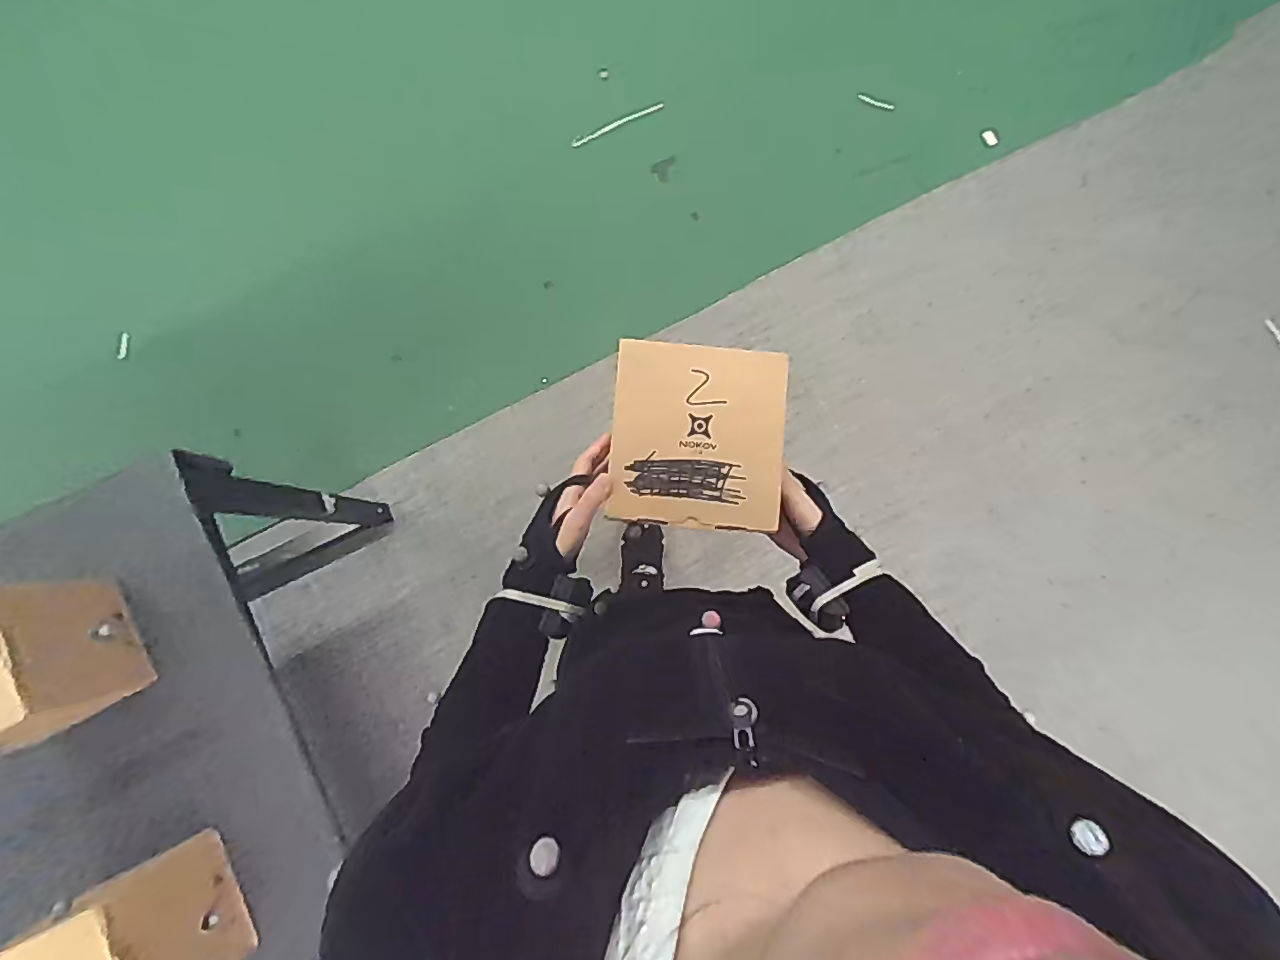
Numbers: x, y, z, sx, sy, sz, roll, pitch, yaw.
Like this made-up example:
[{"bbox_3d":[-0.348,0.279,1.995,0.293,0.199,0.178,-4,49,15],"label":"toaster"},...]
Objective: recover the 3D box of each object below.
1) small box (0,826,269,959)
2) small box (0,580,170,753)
[{"bbox_3d":[-0.616,0.579,0.666,0.179,0.176,0.168,-27,83,-2],"label":"small box"},{"bbox_3d":[-0.789,0.245,0.709,0.179,0.176,0.168,-28,84,-2],"label":"small box"}]
